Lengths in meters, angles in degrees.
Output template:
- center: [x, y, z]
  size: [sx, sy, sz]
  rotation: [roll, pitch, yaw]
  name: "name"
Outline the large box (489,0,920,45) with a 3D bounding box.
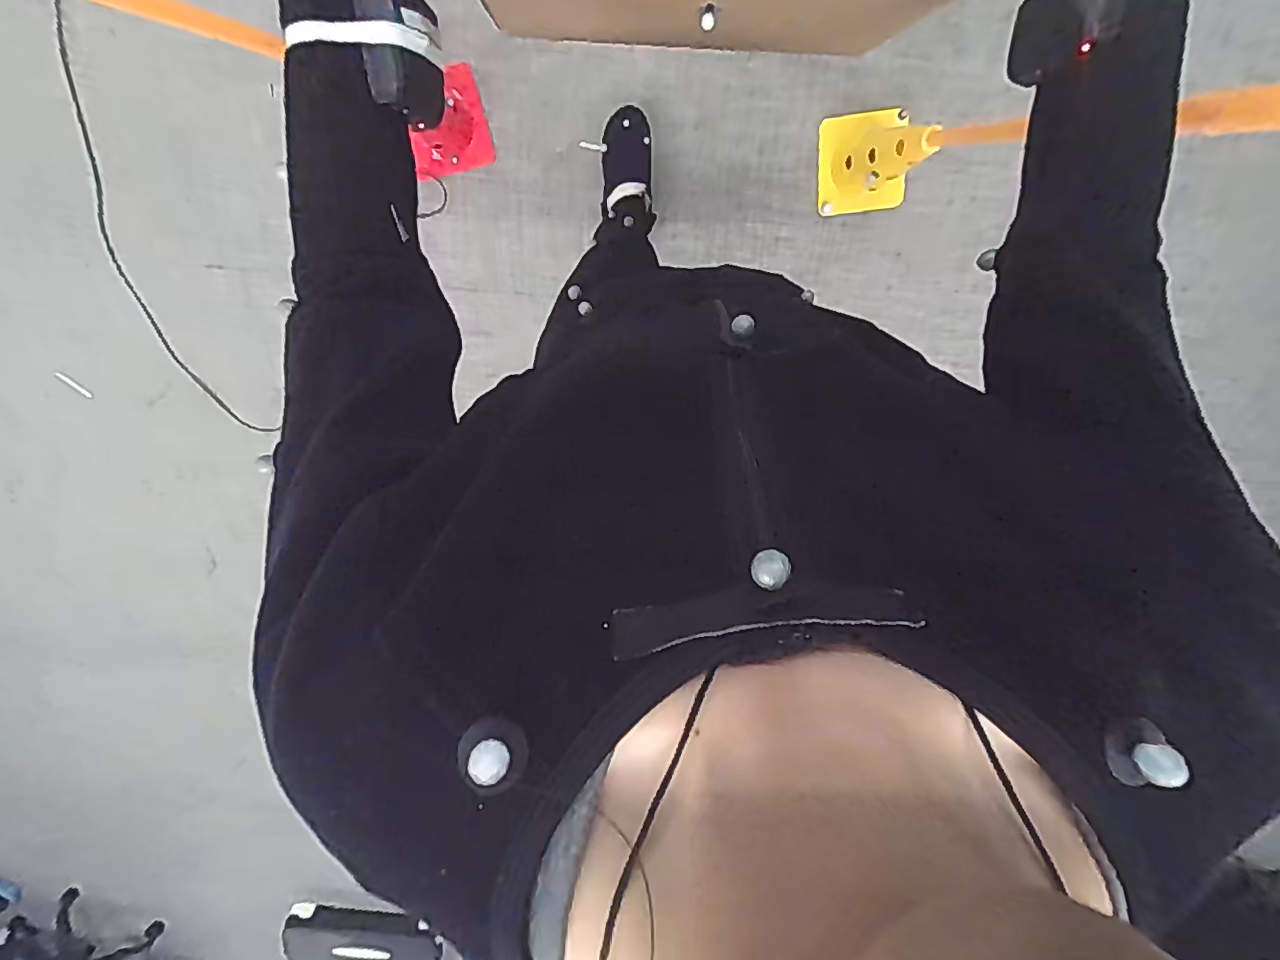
- center: [0.062, -0.560, 0.409]
  size: [0.408, 0.320, 0.320]
  rotation: [0, 116, -3]
  name: "large box"
